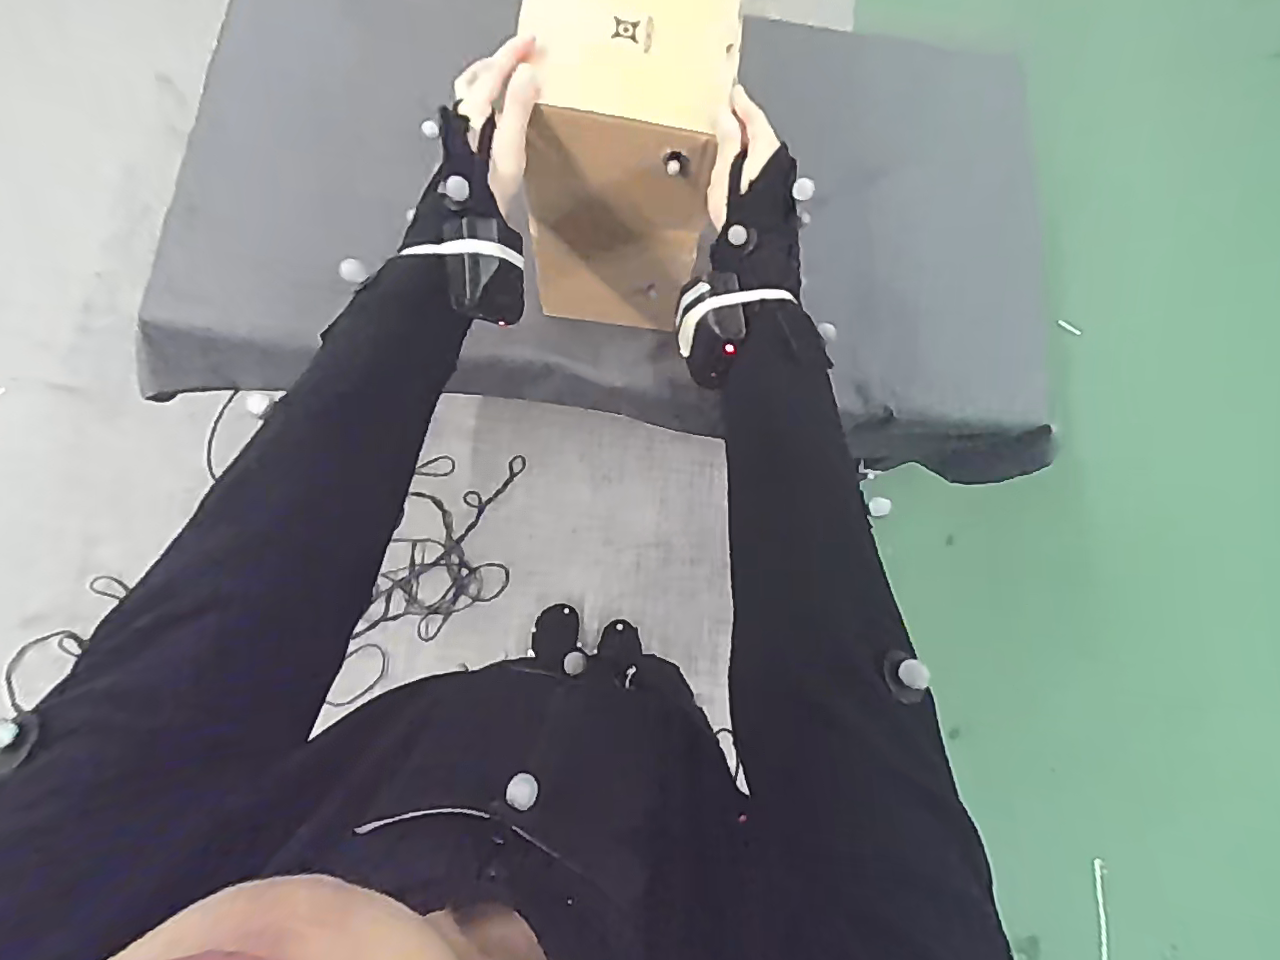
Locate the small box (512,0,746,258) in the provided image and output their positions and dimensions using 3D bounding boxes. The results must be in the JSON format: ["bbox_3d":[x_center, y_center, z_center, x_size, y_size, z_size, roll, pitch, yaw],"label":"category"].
[{"bbox_3d":[-0.011,-0.334,0.505,0.179,0.176,0.168,6,78,-5],"label":"small box"}]
